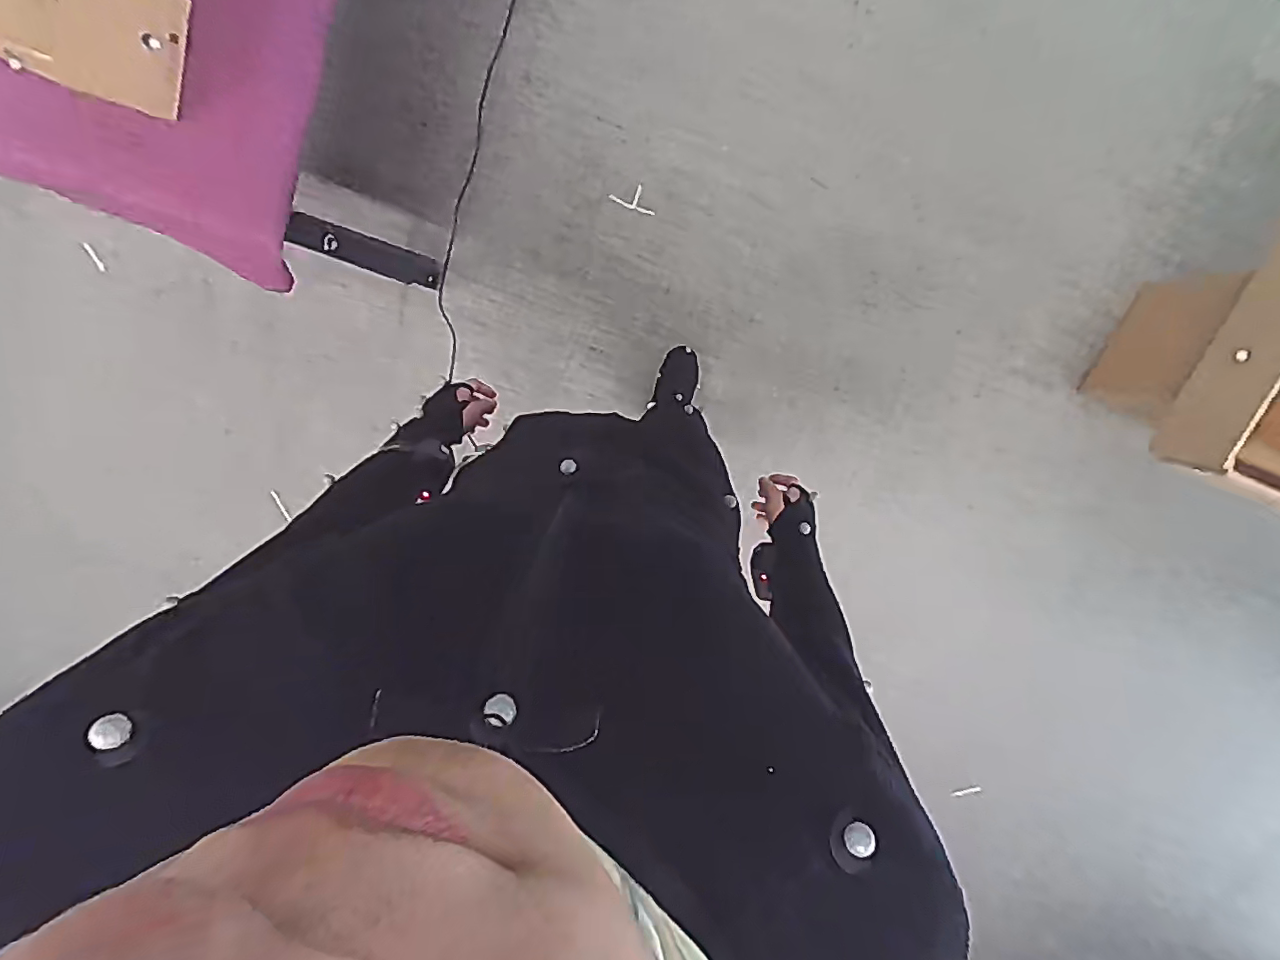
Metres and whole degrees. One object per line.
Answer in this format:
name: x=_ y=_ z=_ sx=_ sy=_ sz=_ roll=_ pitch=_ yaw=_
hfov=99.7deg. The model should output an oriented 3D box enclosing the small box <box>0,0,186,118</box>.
small box: x=-0.746 y=-0.605 z=0.693 sx=0.179 sy=0.176 sz=0.168 roll=18 pitch=102 yaw=-2
